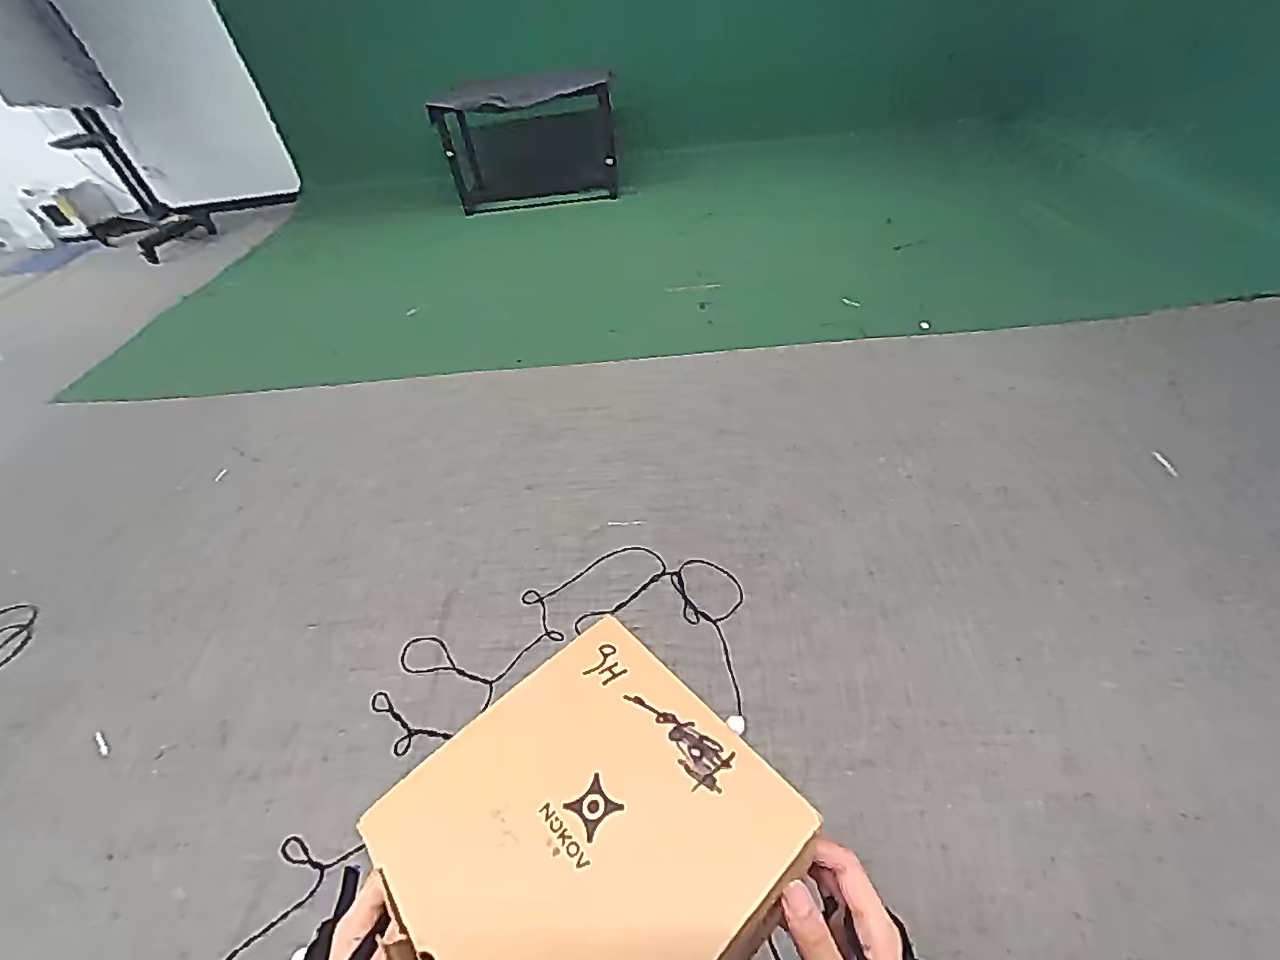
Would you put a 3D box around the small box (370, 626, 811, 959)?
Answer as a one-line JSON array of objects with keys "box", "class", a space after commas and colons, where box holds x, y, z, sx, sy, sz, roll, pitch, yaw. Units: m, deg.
[{"box": [-0.018, 0.235, 0.329, 0.179, 0.176, 0.168, -36, 49, -24], "class": "small box"}]
